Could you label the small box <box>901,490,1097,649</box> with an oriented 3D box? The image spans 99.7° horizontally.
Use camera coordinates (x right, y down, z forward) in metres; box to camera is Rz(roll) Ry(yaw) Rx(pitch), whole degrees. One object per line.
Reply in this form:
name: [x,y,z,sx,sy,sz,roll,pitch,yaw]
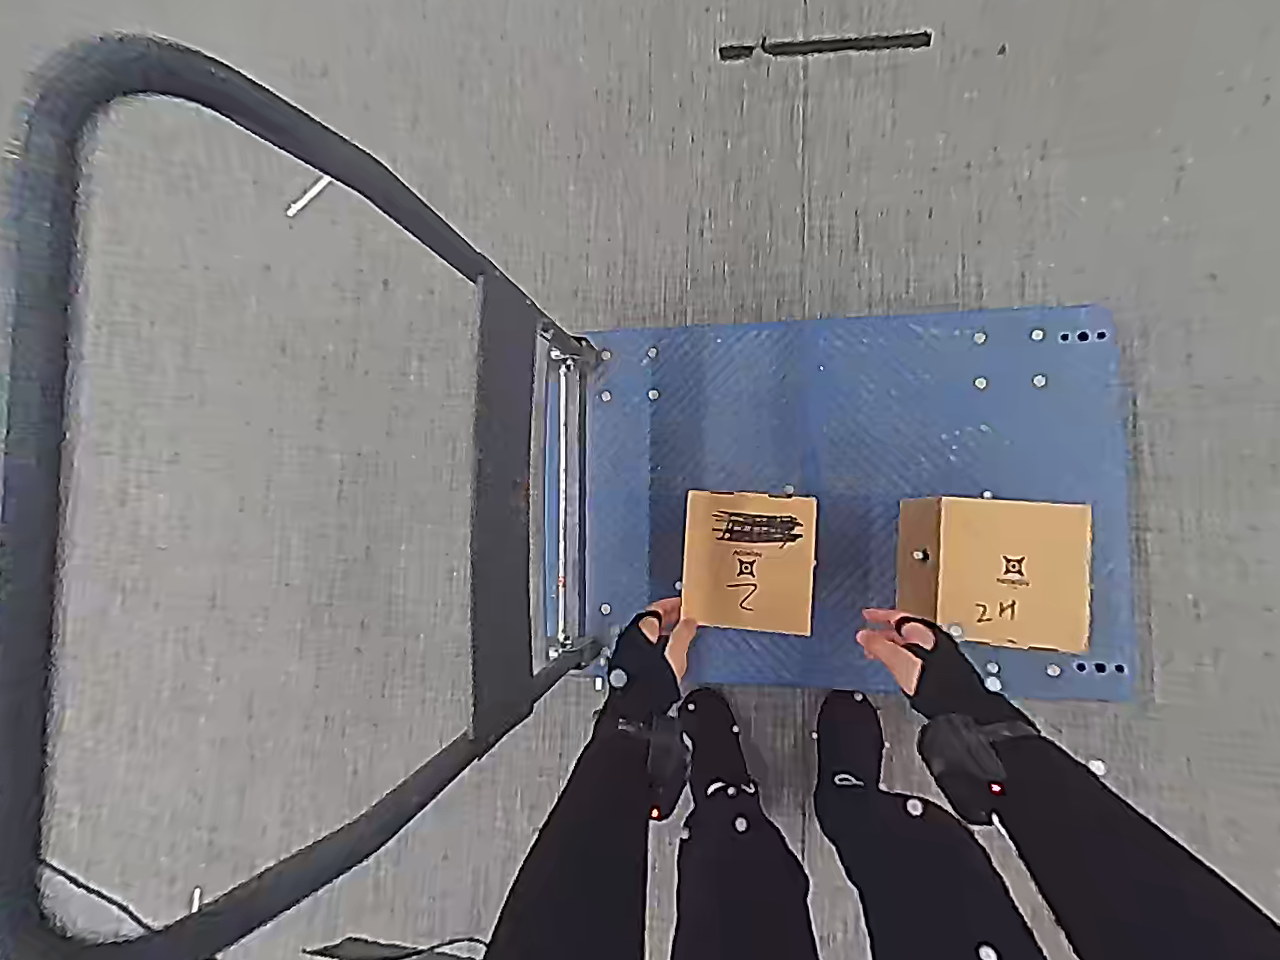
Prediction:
small box: [0.460,0.110,0.719,0.168,0.176,0.179,4,87,10]
